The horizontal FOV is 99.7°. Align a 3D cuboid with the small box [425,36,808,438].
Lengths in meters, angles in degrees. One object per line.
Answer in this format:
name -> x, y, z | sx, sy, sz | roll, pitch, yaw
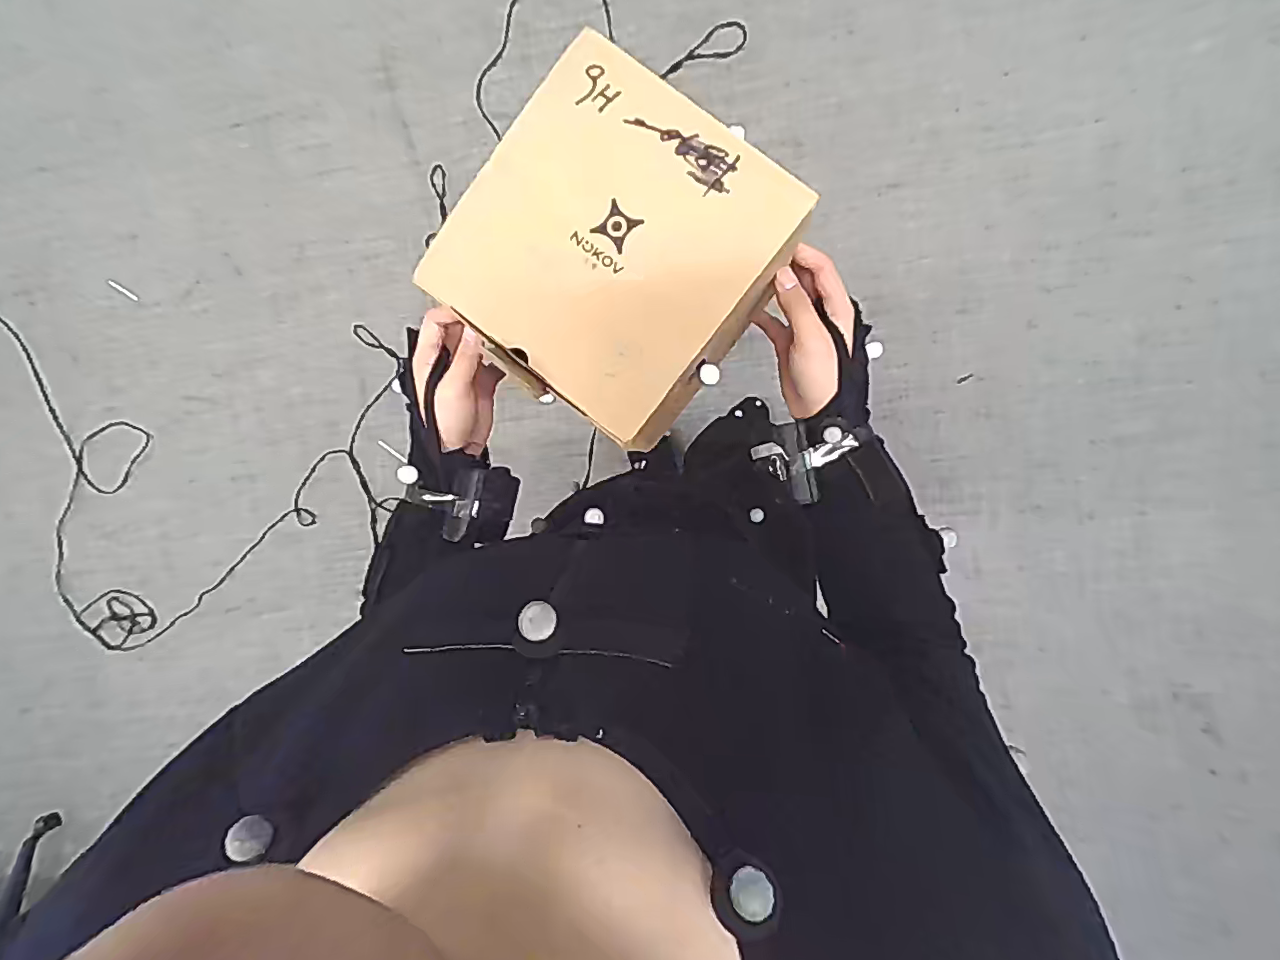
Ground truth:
small box -> -0.009, -0.144, 0.395 | 0.168, 0.176, 0.179 | 38, 96, 3
